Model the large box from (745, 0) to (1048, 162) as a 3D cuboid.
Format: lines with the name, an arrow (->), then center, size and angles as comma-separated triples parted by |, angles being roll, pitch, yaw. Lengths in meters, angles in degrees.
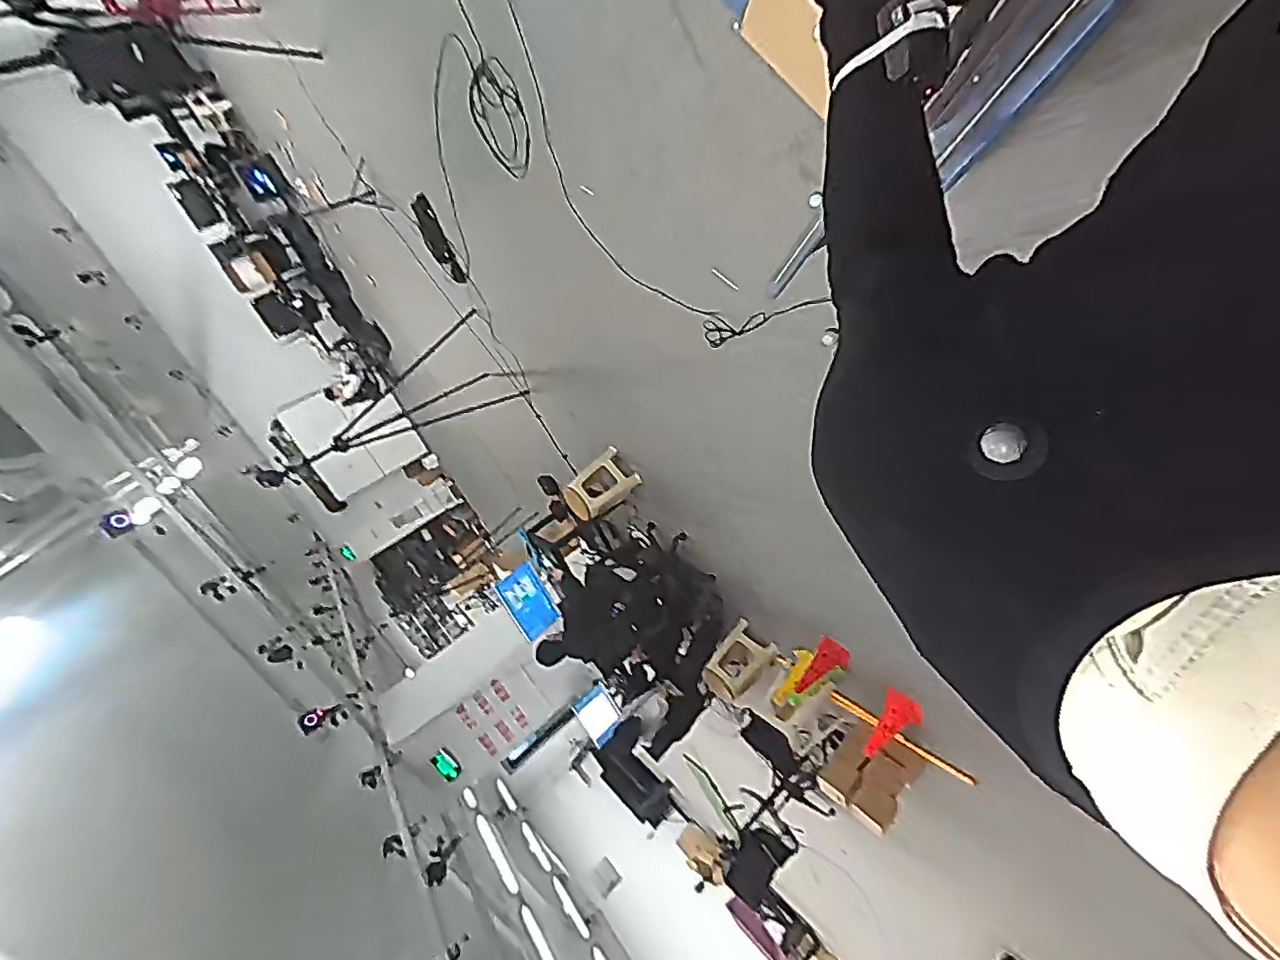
large box -> 0.486, -0.907, 1.019 | 0.408, 0.320, 0.320 | 51, 155, 7
